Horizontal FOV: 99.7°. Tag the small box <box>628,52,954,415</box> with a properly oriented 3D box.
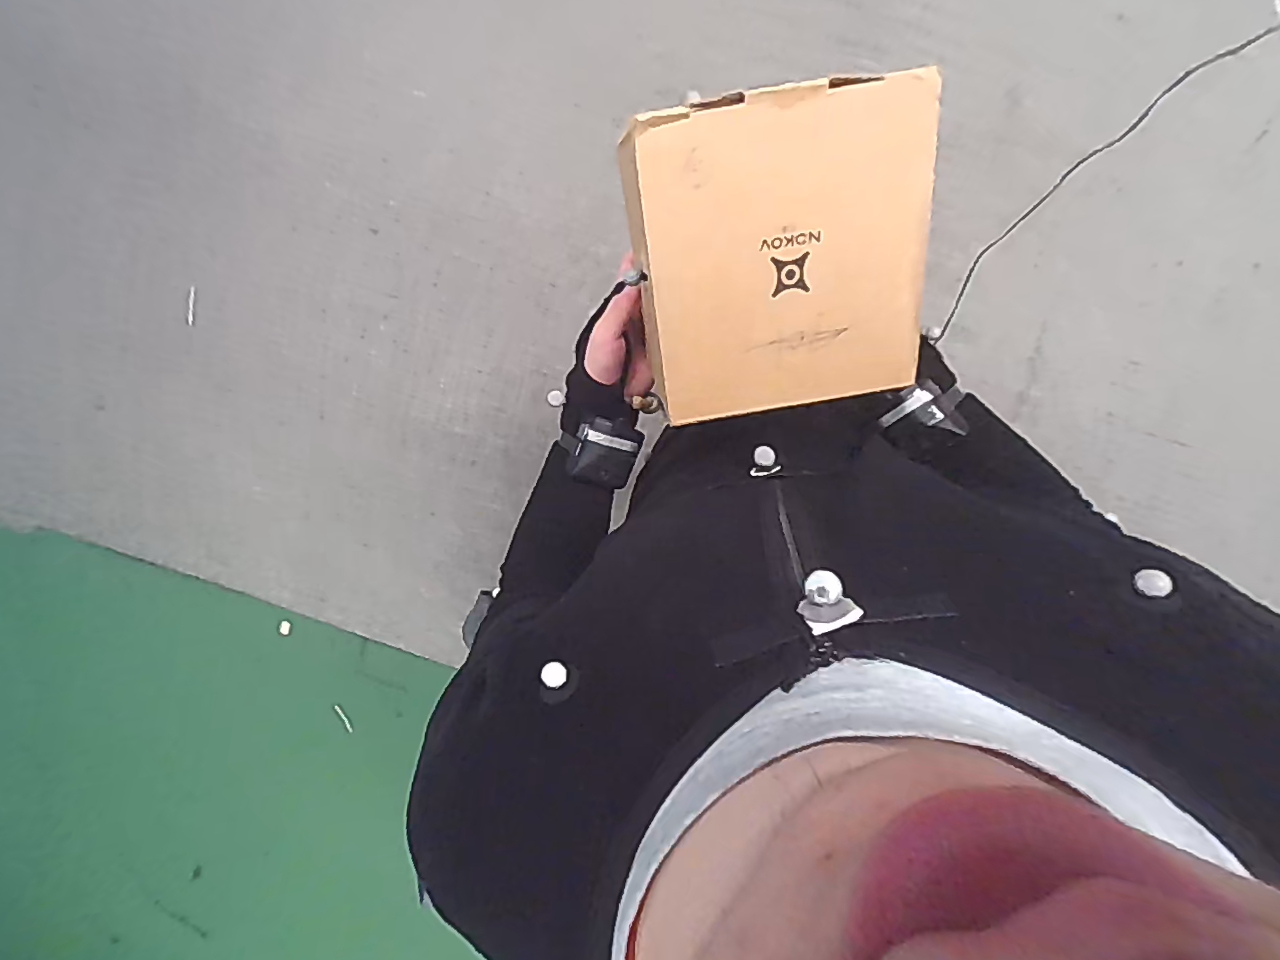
[{"bbox_3d":[0.087,-0.166,0.385,0.168,0.176,0.179,-10,118,0],"label":"small box"}]
